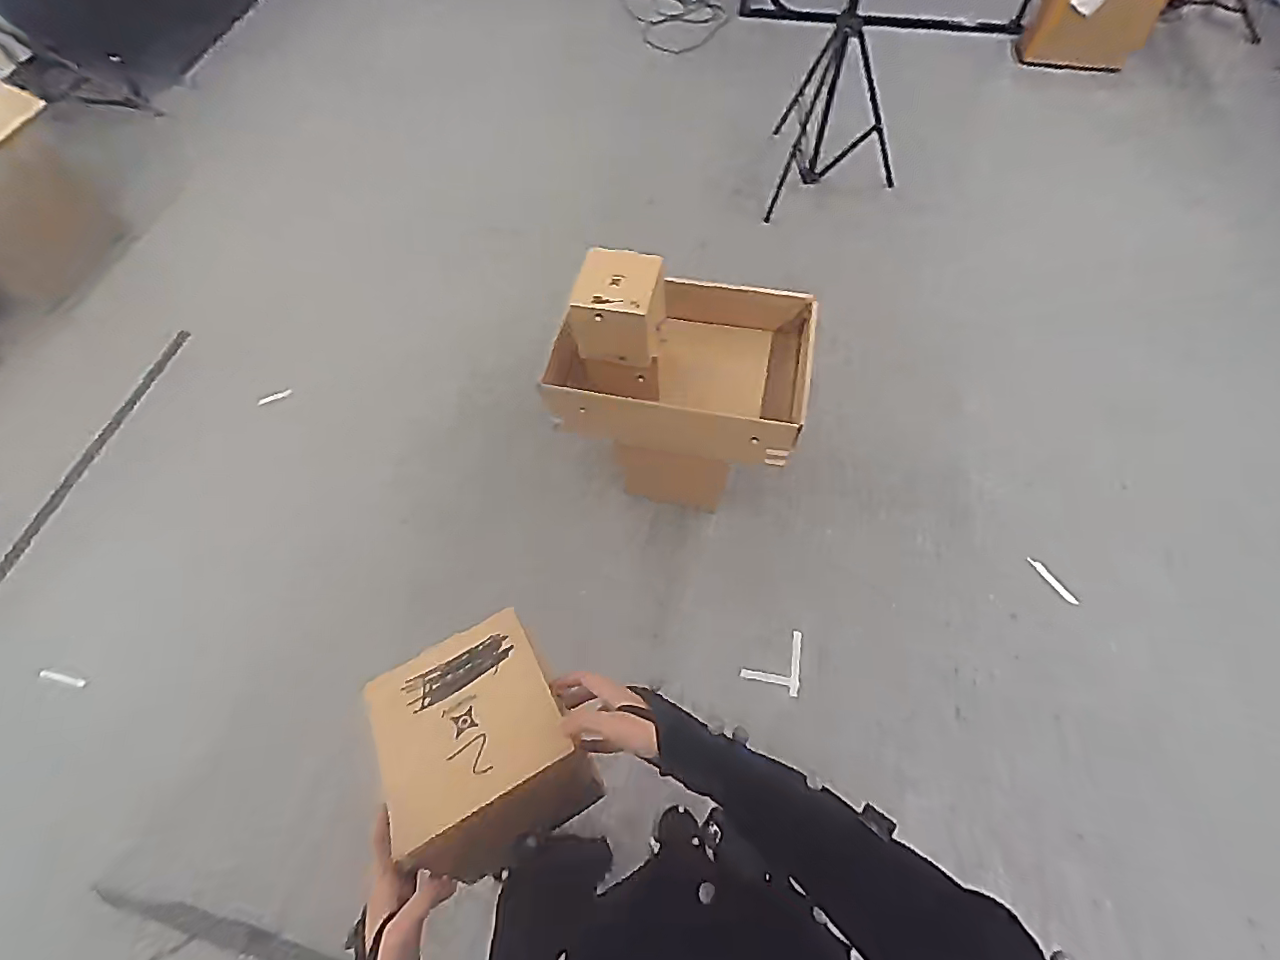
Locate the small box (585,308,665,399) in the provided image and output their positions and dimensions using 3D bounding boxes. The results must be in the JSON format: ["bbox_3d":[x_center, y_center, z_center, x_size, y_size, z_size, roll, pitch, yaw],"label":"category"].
[{"bbox_3d":[-0.031,-0.319,1.354,0.179,0.176,0.168,5,62,7],"label":"small box"}]

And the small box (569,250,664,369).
[{"bbox_3d":[-0.045,-0.377,1.202,0.168,0.176,0.179,10,63,9],"label":"small box"}]
